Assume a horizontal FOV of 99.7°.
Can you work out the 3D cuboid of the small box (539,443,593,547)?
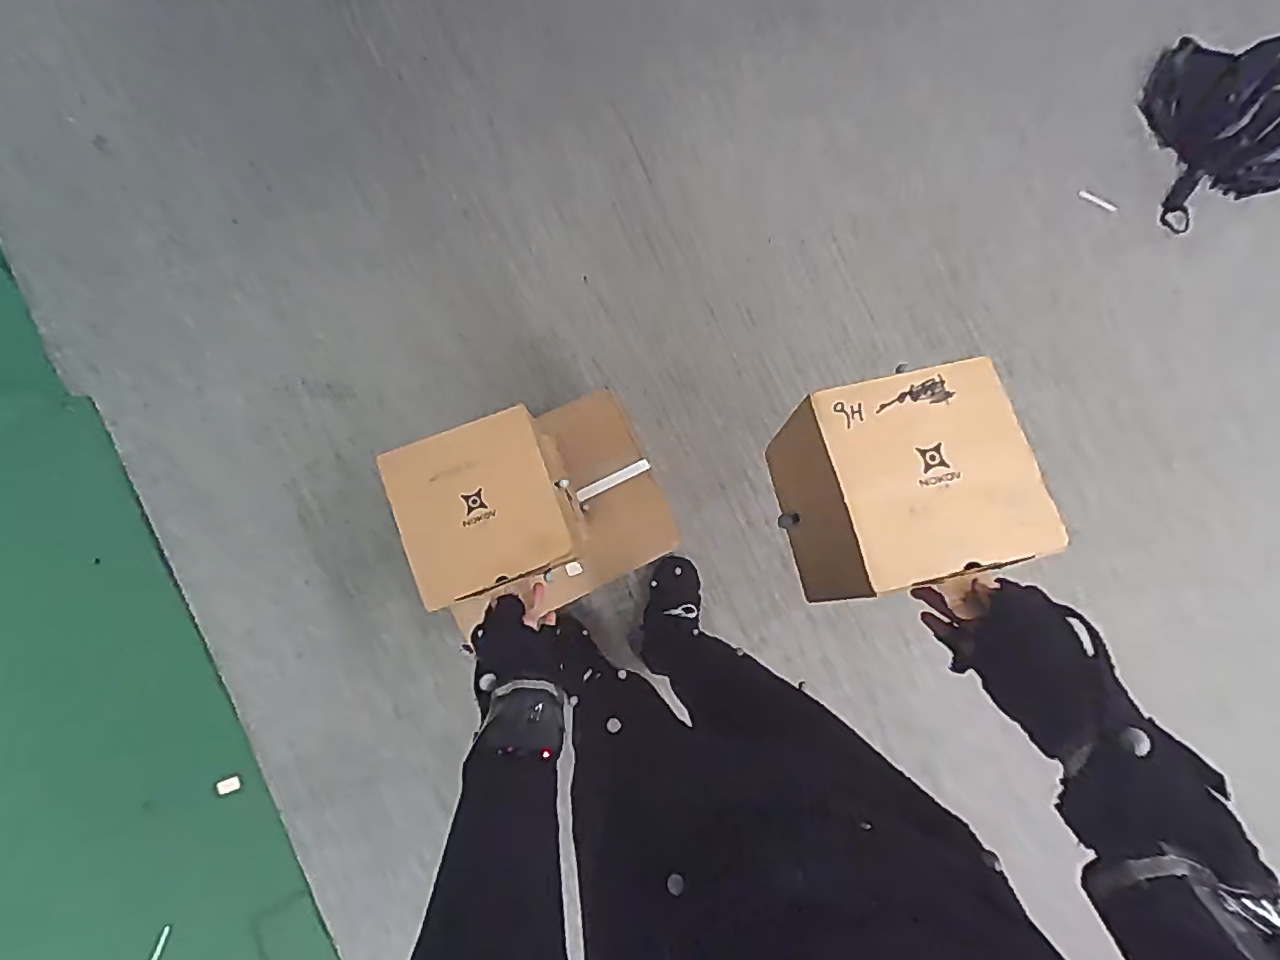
[{"bbox_3d":[-0.187,0.049,0.834,0.179,0.176,0.168,-26,96,-3],"label":"small box"}]

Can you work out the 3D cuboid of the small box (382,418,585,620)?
[{"bbox_3d":[-0.173,0.049,0.654,0.168,0.176,0.179,-21,82,-4],"label":"small box"}]

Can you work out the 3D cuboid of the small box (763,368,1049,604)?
[{"bbox_3d":[0.234,0.018,0.529,0.168,0.176,0.179,-13,76,-3],"label":"small box"}]
